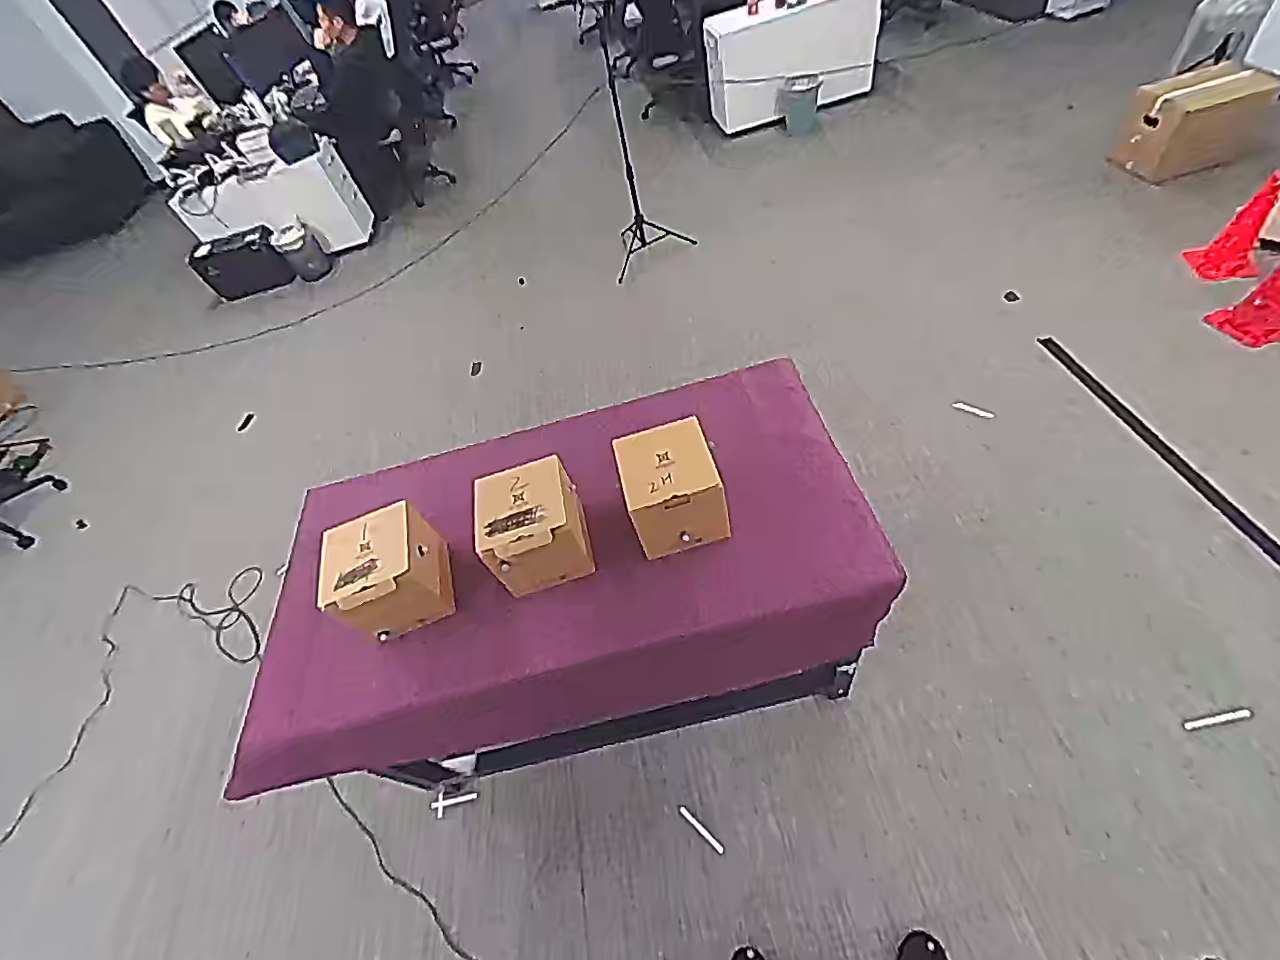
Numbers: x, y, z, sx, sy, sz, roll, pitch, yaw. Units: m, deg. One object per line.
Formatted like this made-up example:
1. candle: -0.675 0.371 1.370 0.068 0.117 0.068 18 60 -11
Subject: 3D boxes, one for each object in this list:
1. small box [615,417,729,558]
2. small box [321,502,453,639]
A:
1. small box: 0.061 0.016 1.011 0.168 0.176 0.179 -17 51 3
2. small box: -0.472 0.180 1.027 0.168 0.176 0.179 -22 50 -3
